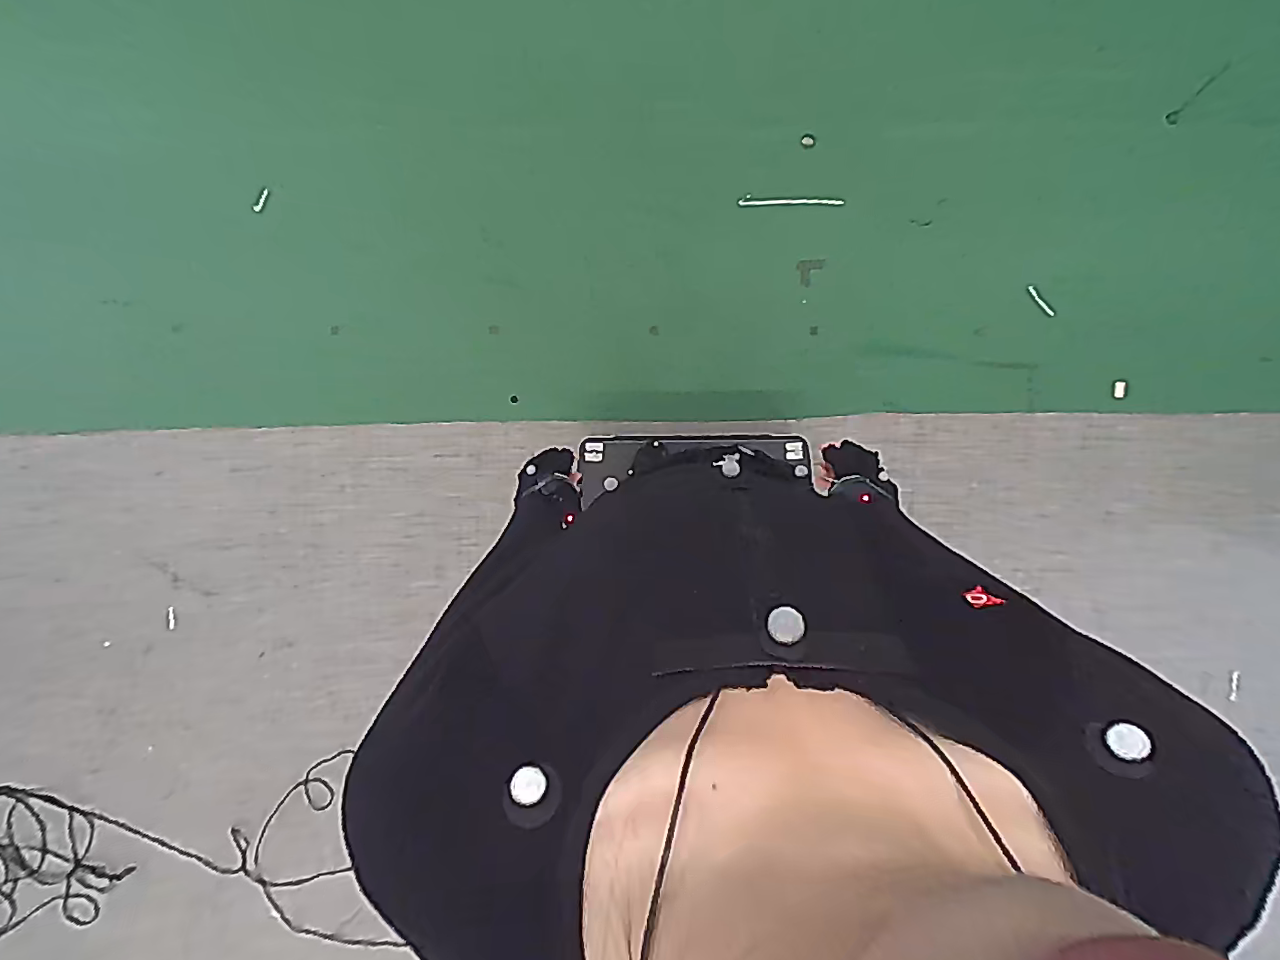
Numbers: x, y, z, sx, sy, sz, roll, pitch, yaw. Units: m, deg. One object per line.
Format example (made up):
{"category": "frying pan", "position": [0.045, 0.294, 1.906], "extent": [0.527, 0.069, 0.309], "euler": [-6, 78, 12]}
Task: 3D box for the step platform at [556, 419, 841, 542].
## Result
{"category": "step platform", "position": [0.141, -0.006, 1.387], "extent": [0.684, 0.204, 0.286], "euler": [-1, 95, 1]}
